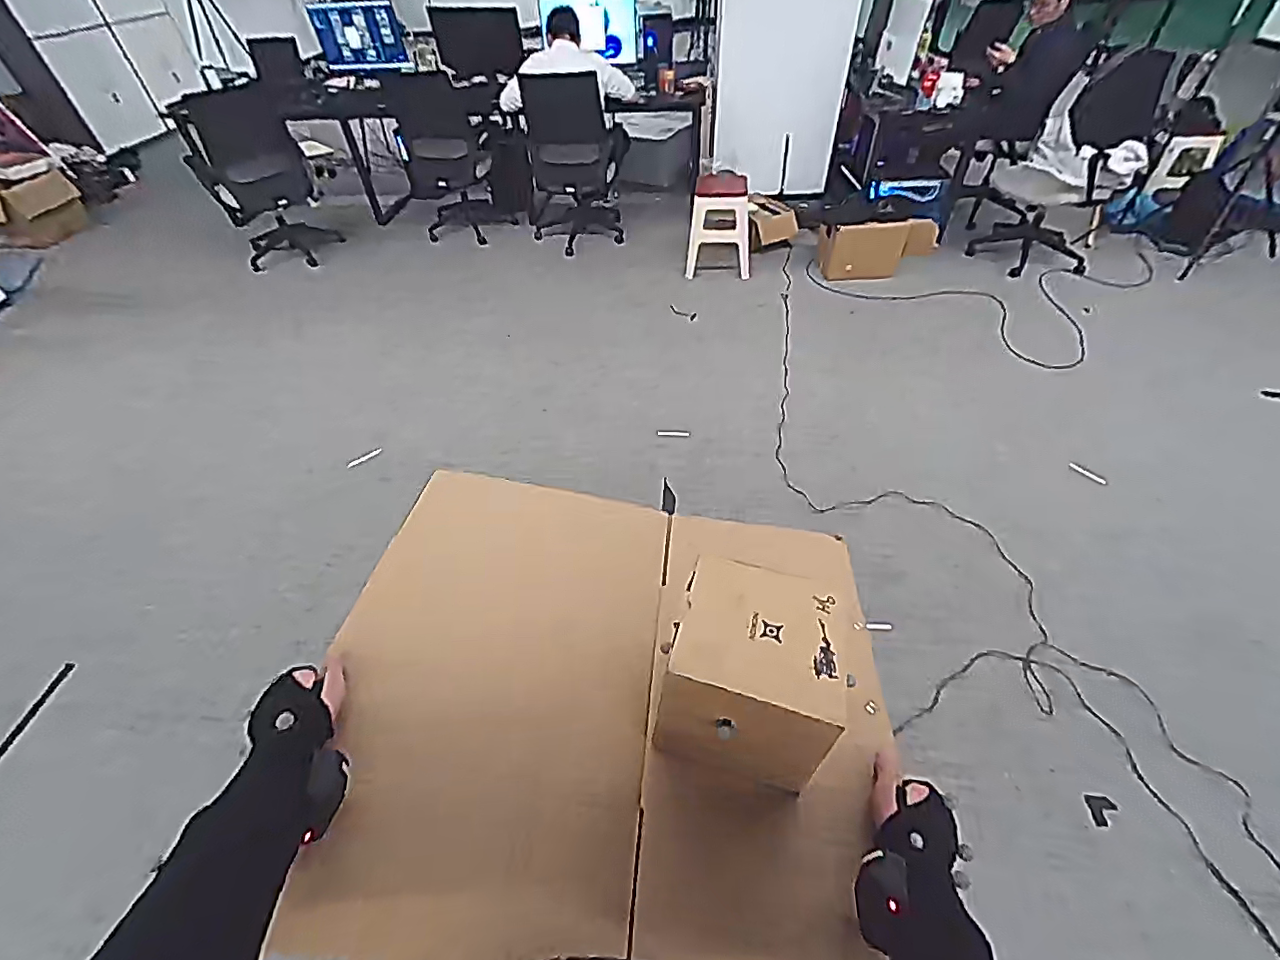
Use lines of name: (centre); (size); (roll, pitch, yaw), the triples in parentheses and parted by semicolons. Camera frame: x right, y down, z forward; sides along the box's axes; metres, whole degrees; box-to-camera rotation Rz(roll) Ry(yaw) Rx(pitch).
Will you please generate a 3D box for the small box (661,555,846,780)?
small box: (0.128, 0.219, 0.632); (0.179, 0.176, 0.168); (13, 43, 11)
